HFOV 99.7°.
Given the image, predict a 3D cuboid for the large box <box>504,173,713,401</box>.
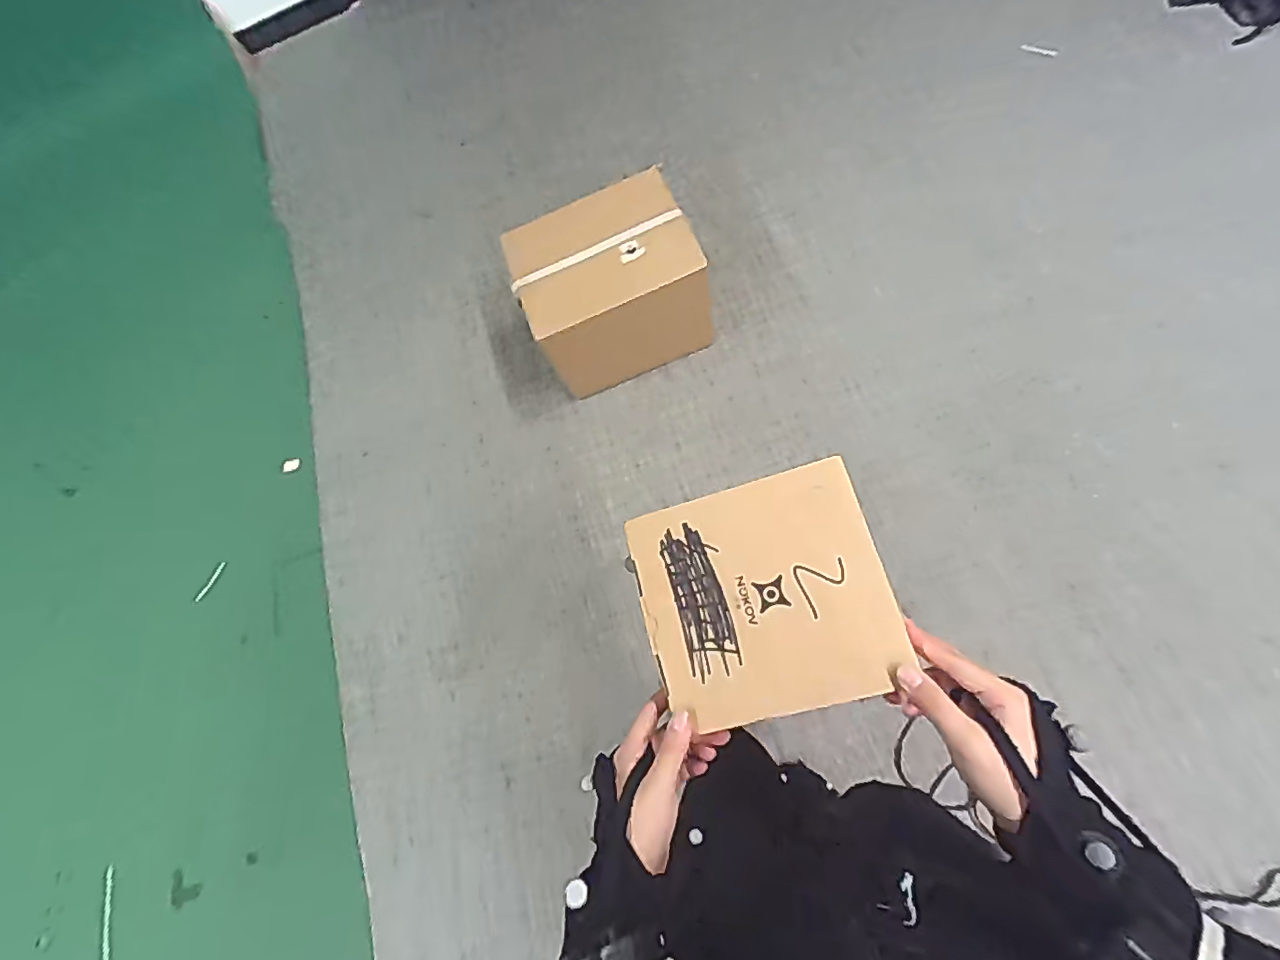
[{"bbox_3d":[-0.063,-0.457,1.345,0.408,0.320,0.320,-22,71,2],"label":"large box"}]
